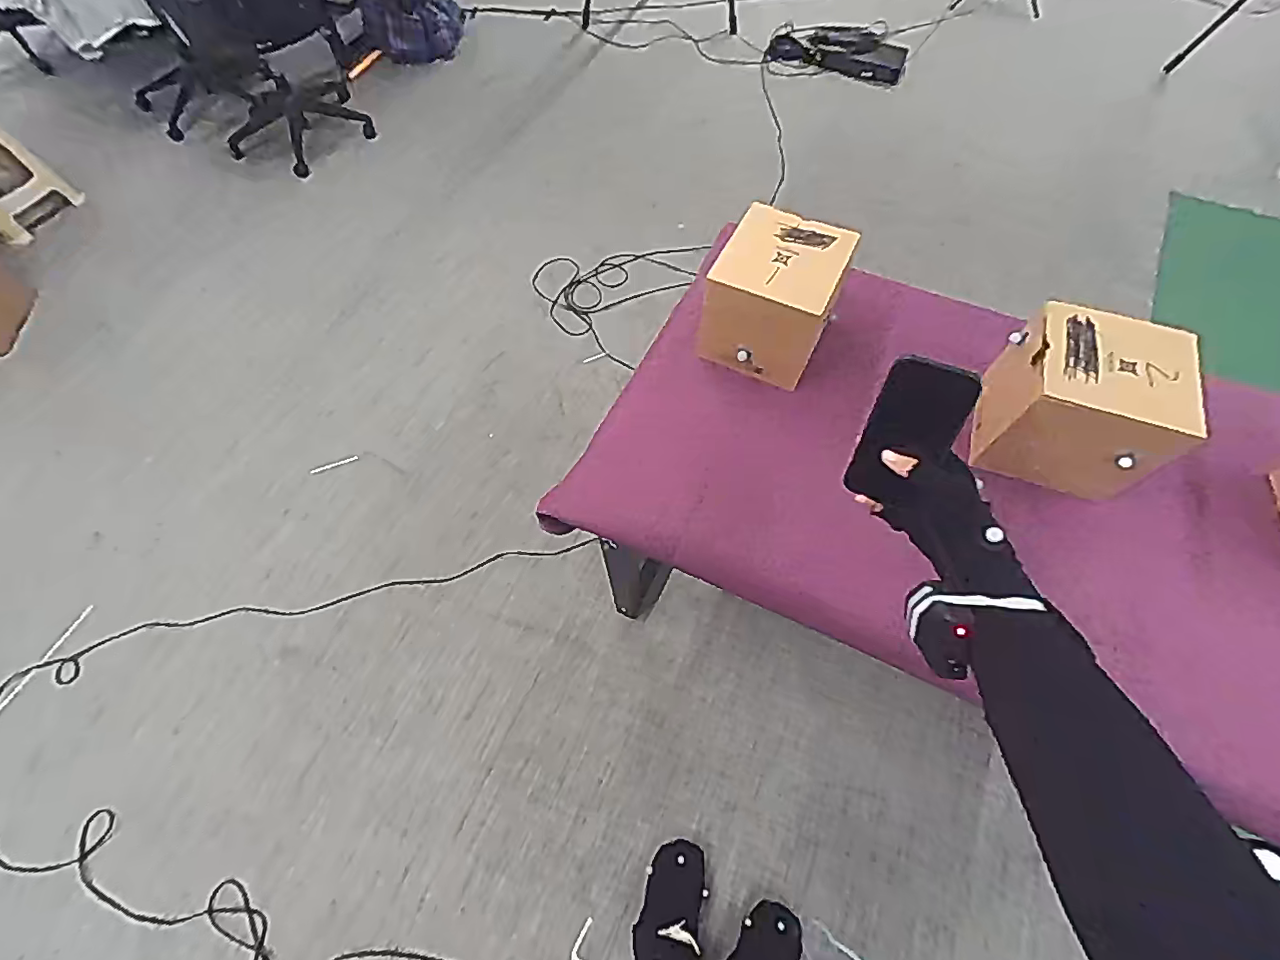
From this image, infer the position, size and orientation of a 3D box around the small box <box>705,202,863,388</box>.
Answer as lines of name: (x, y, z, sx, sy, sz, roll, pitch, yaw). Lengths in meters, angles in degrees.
small box: (0.206, -0.275, 0.818, 0.168, 0.176, 0.179, 25, 67, 14)
